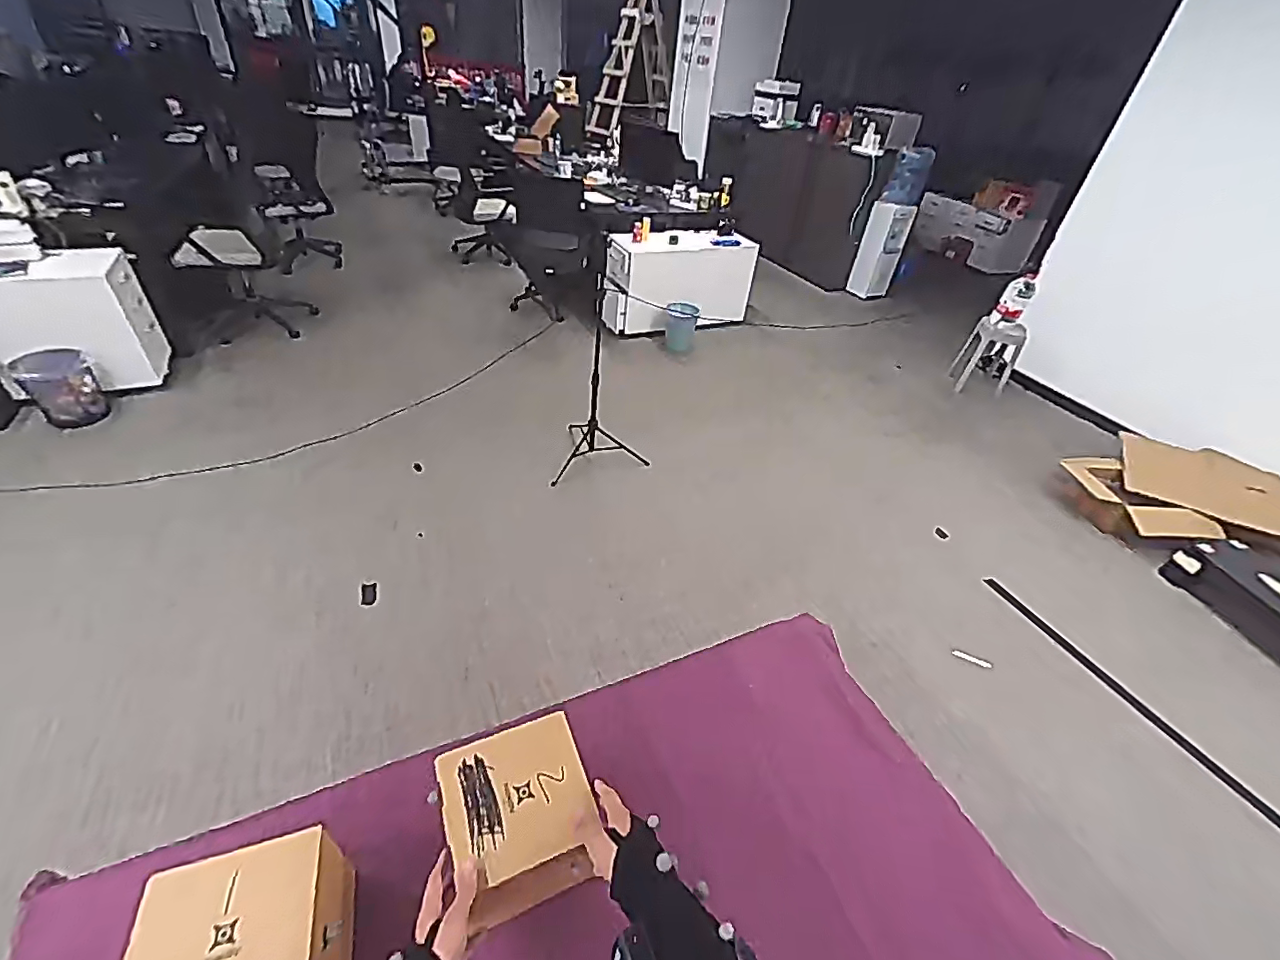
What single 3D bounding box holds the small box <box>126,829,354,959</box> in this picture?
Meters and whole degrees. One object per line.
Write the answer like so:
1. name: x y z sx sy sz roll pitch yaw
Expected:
1. small box: -0.420 0.524 0.584 0.168 0.176 0.179 -8 41 -18
